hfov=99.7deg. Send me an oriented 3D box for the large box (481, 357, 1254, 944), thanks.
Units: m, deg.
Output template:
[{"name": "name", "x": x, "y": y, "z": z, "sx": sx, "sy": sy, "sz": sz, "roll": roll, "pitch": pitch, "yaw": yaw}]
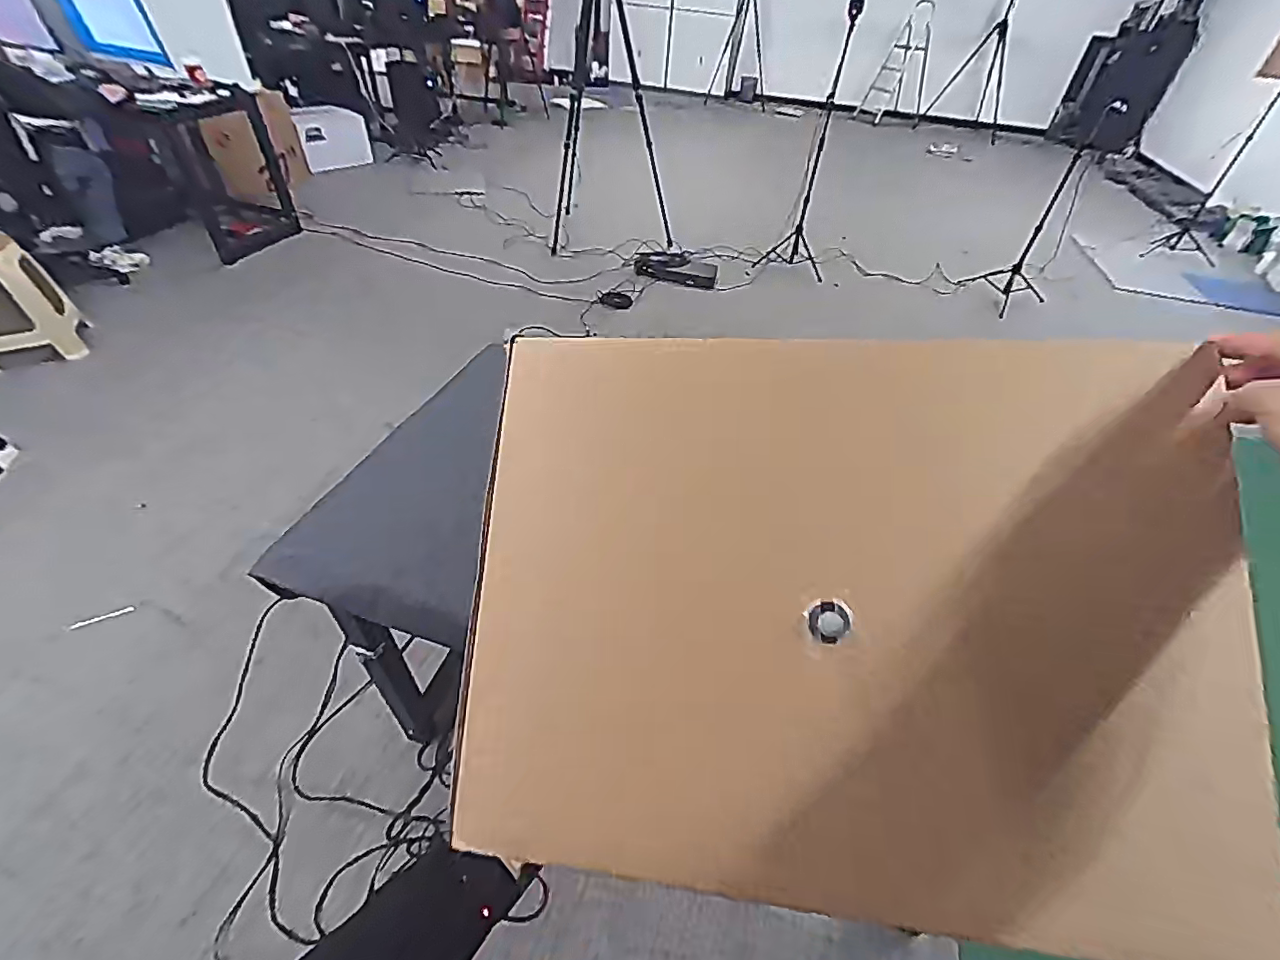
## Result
[{"name": "large box", "x": 0.128, "y": 0.098, "z": 0.451, "sx": 0.408, "sy": 0.320, "sz": 0.320, "roll": 1, "pitch": 80, "yaw": 8}]
